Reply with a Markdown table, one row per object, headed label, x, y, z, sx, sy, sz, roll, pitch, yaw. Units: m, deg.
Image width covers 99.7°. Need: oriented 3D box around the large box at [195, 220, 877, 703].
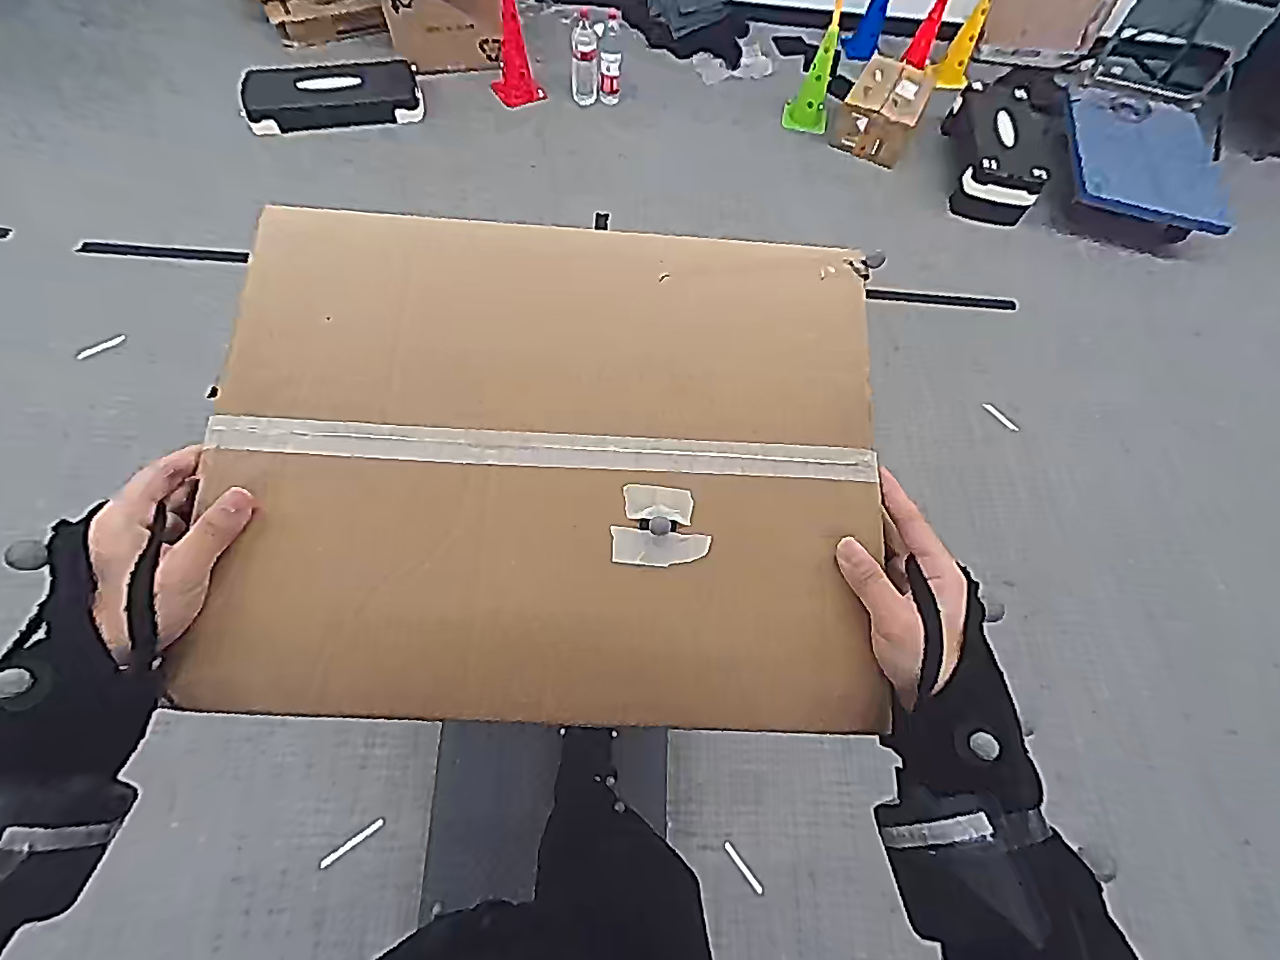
| label | x | y | z | sx | sy | sz | roll | pitch | yaw |
| --- | --- | --- | --- | --- | --- | --- | --- | --- | --- |
| large box | -0.060 | 0.010 | 0.492 | 0.408 | 0.320 | 0.320 | 3 | 78 | -3 |
